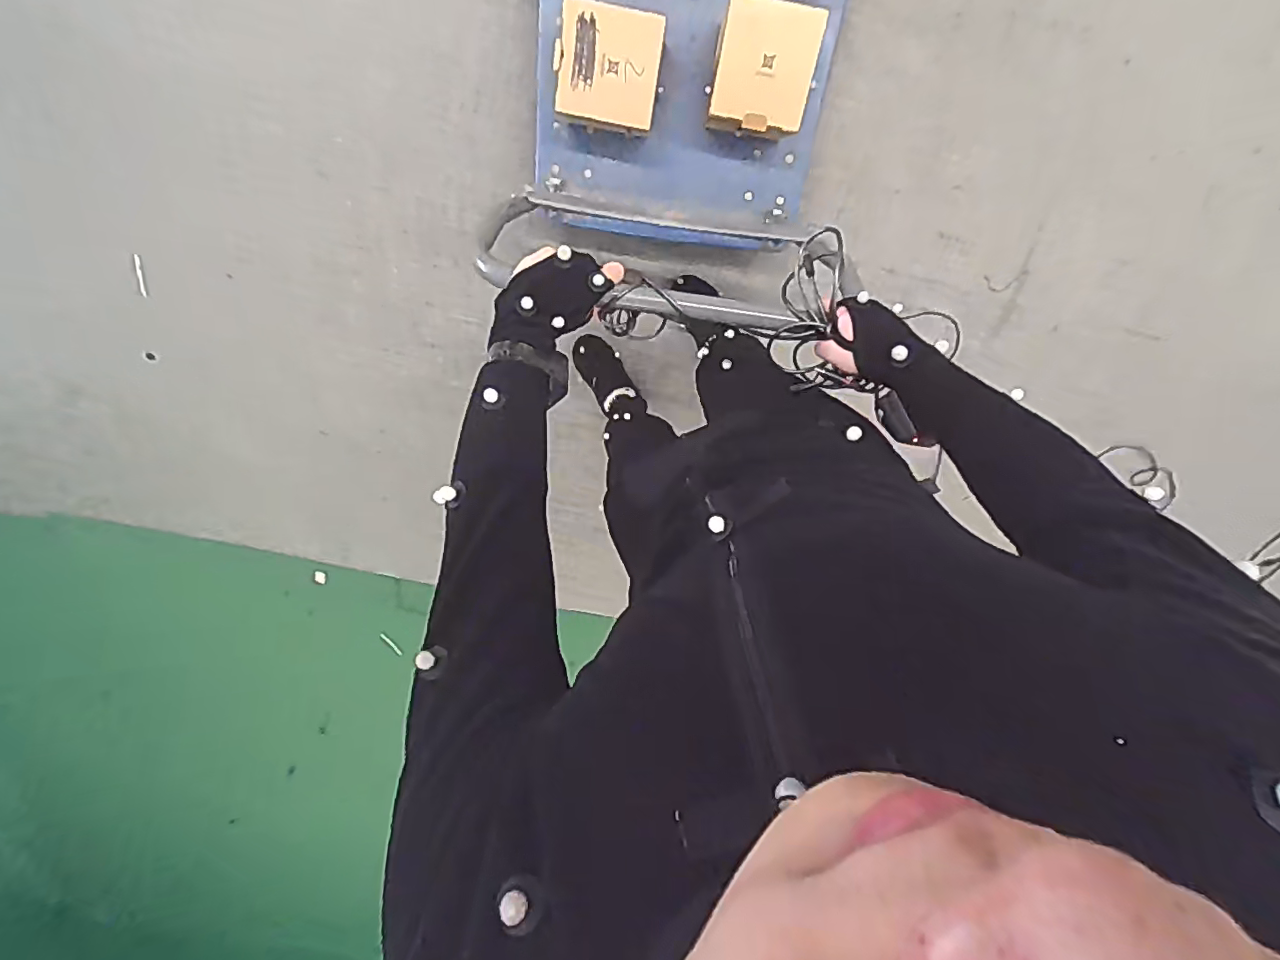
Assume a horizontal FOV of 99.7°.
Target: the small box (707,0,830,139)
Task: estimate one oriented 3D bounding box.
[{"bbox_3d":[0.223,-0.748,0.997,0.168,0.176,0.179,9,119,-2],"label":"small box"}]
